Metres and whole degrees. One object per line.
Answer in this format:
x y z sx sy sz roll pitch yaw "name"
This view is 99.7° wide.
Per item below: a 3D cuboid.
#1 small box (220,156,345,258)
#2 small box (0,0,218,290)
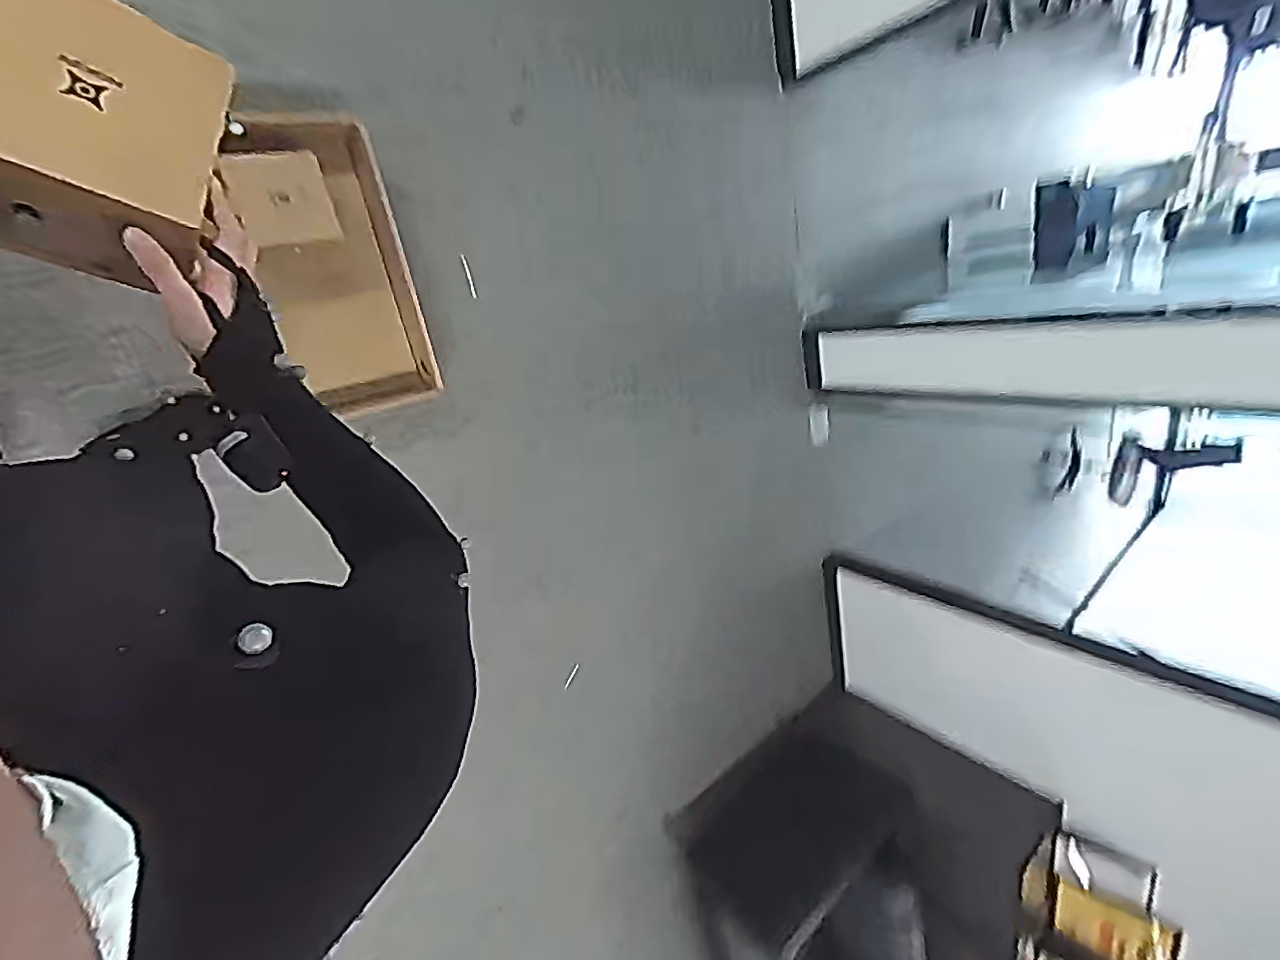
-0.767 -0.583 1.165 0.179 0.176 0.168 -23 115 -31 "small box"
-0.489 -0.295 0.469 0.168 0.176 0.179 11 74 -41 "small box"
